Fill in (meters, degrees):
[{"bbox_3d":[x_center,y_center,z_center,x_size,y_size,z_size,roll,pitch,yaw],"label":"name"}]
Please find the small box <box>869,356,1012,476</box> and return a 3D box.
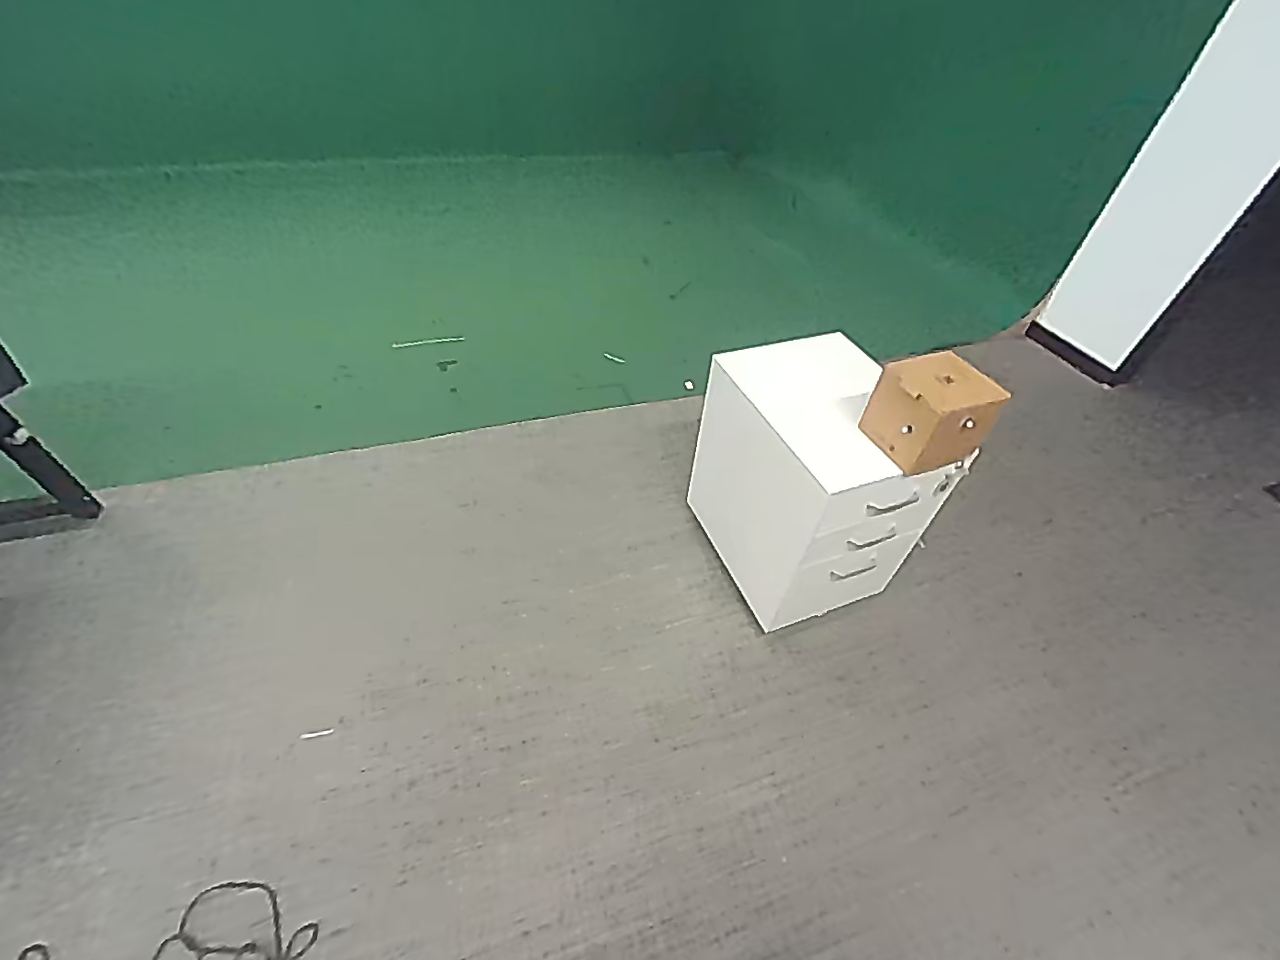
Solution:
[{"bbox_3d":[0.600,-0.129,1.113,0.179,0.176,0.168,-13,48,-17],"label":"small box"}]
